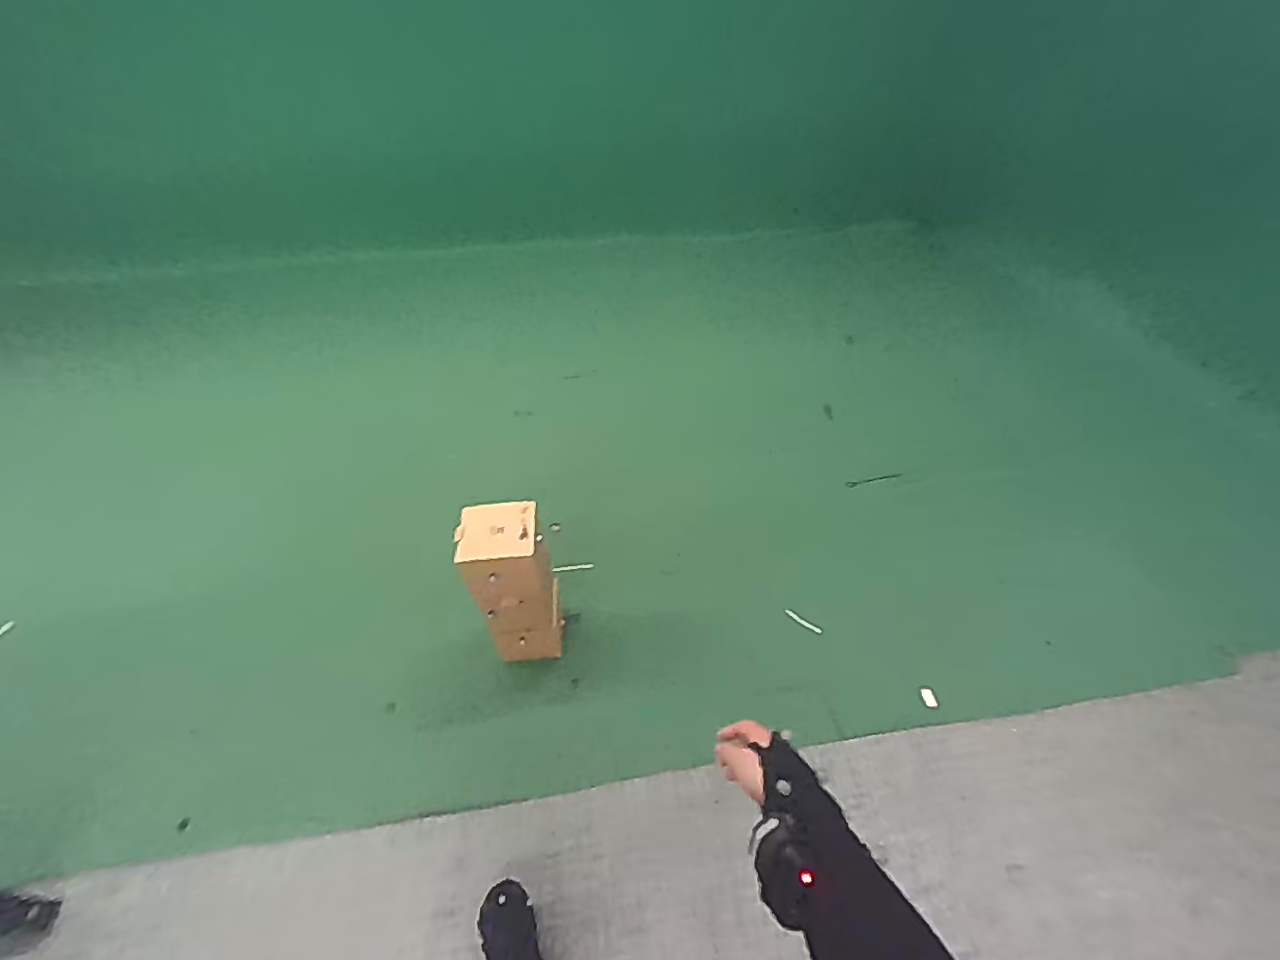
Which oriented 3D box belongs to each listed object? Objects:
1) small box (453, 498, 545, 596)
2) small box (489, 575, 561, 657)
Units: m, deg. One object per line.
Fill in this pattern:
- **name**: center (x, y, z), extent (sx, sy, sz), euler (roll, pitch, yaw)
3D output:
- **small box**: center (-0.331, 0.164, 1.303), extent (0.179, 0.176, 0.168), euler (-5, 47, -4)
- **small box**: center (-0.319, 0.388, 1.543), extent (0.179, 0.176, 0.168), euler (-4, 47, -3)
